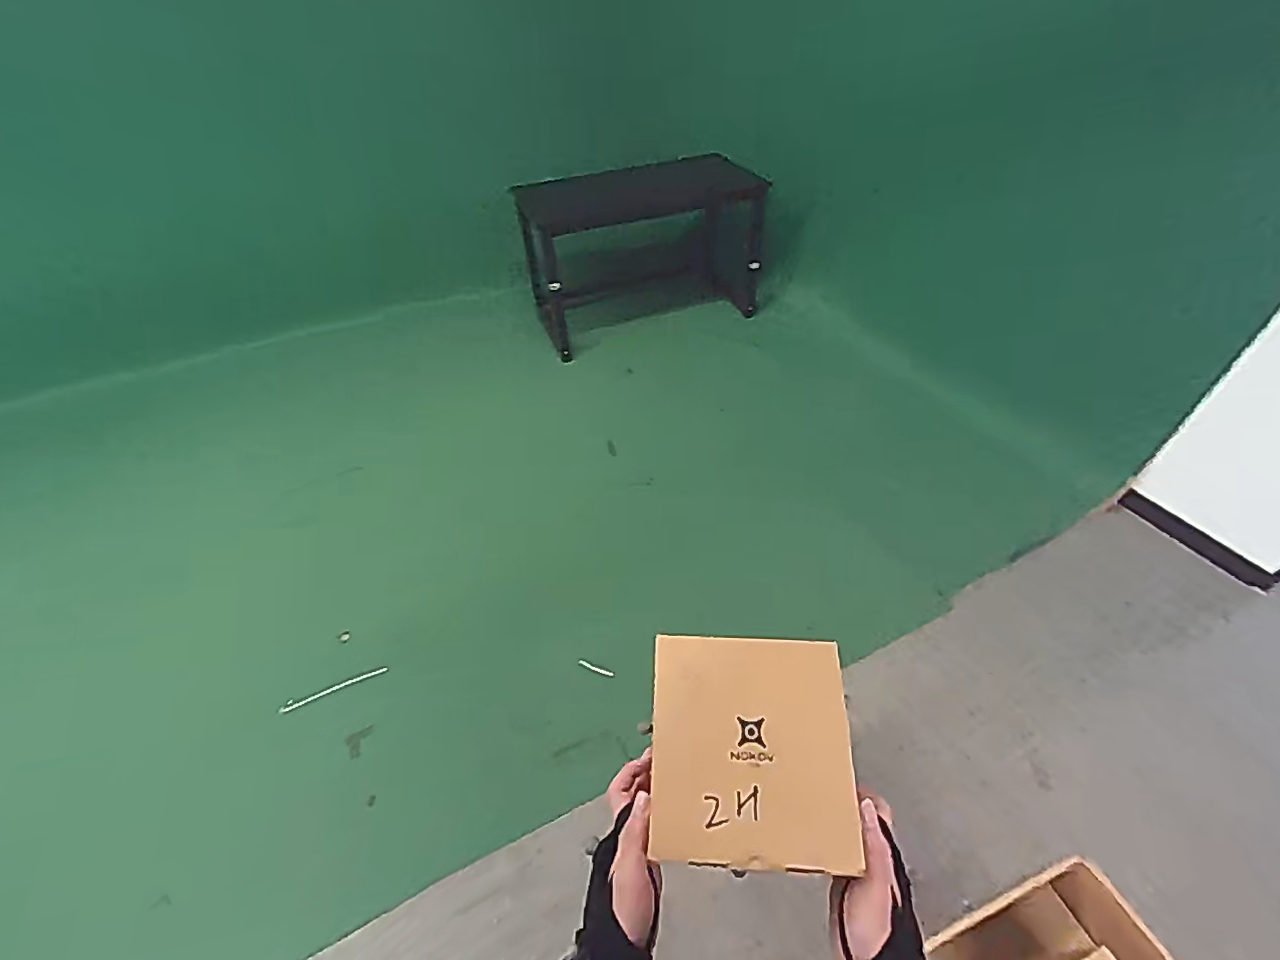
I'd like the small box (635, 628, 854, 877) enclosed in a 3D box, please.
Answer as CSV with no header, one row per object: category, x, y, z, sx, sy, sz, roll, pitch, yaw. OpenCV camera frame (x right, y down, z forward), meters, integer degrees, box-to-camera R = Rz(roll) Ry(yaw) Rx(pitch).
small box,0.085,0.252,0.511,0.168,0.176,0.179,1,61,4
